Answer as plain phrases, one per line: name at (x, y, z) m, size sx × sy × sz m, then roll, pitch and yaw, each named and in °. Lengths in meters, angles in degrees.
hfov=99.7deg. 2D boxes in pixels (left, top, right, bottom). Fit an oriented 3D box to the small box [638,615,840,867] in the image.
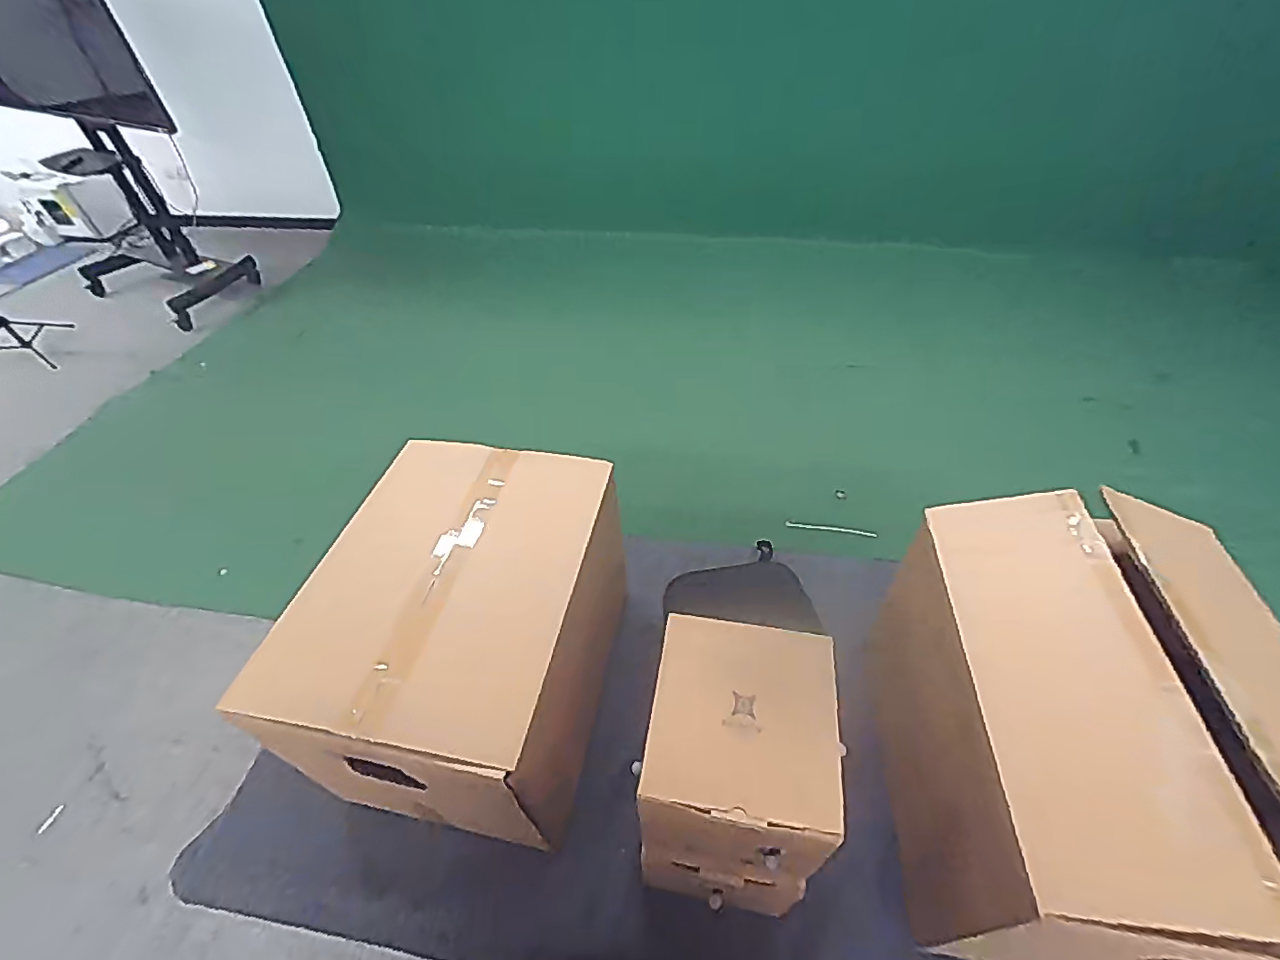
small box at (0.095, 0.266, 0.551) m, size 0.168 × 0.176 × 0.179 m, roll 7°, pitch 45°, yaw 7°
